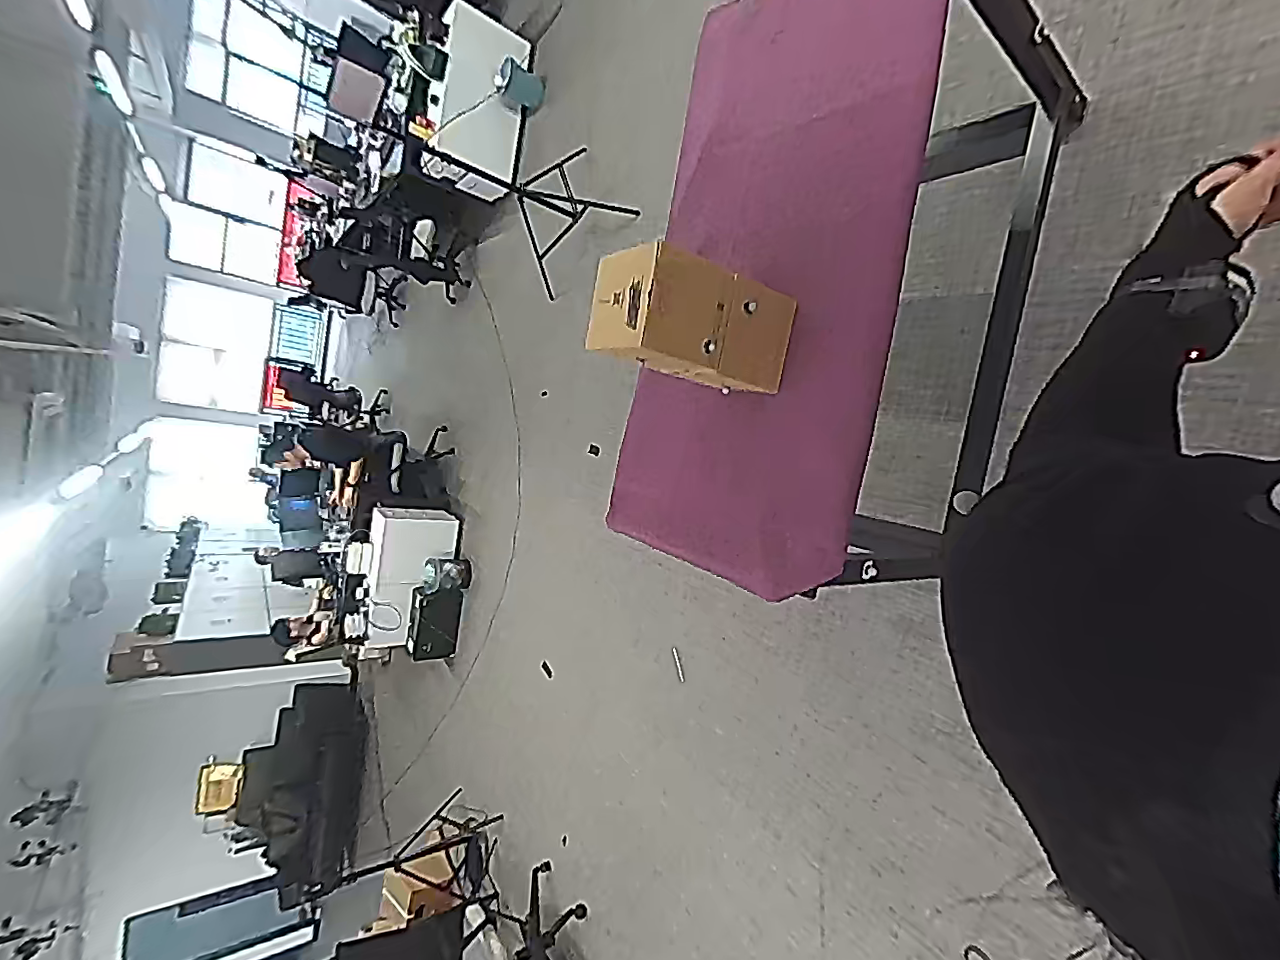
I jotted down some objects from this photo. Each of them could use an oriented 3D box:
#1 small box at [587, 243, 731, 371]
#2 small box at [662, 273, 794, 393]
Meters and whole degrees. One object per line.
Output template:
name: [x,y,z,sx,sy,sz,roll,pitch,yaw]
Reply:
small box: [0.032,-0.290,0.939,0.179,0.176,0.168,16,98,53]
small box: [0.168,-0.274,1.031,0.168,0.176,0.179,19,100,53]
